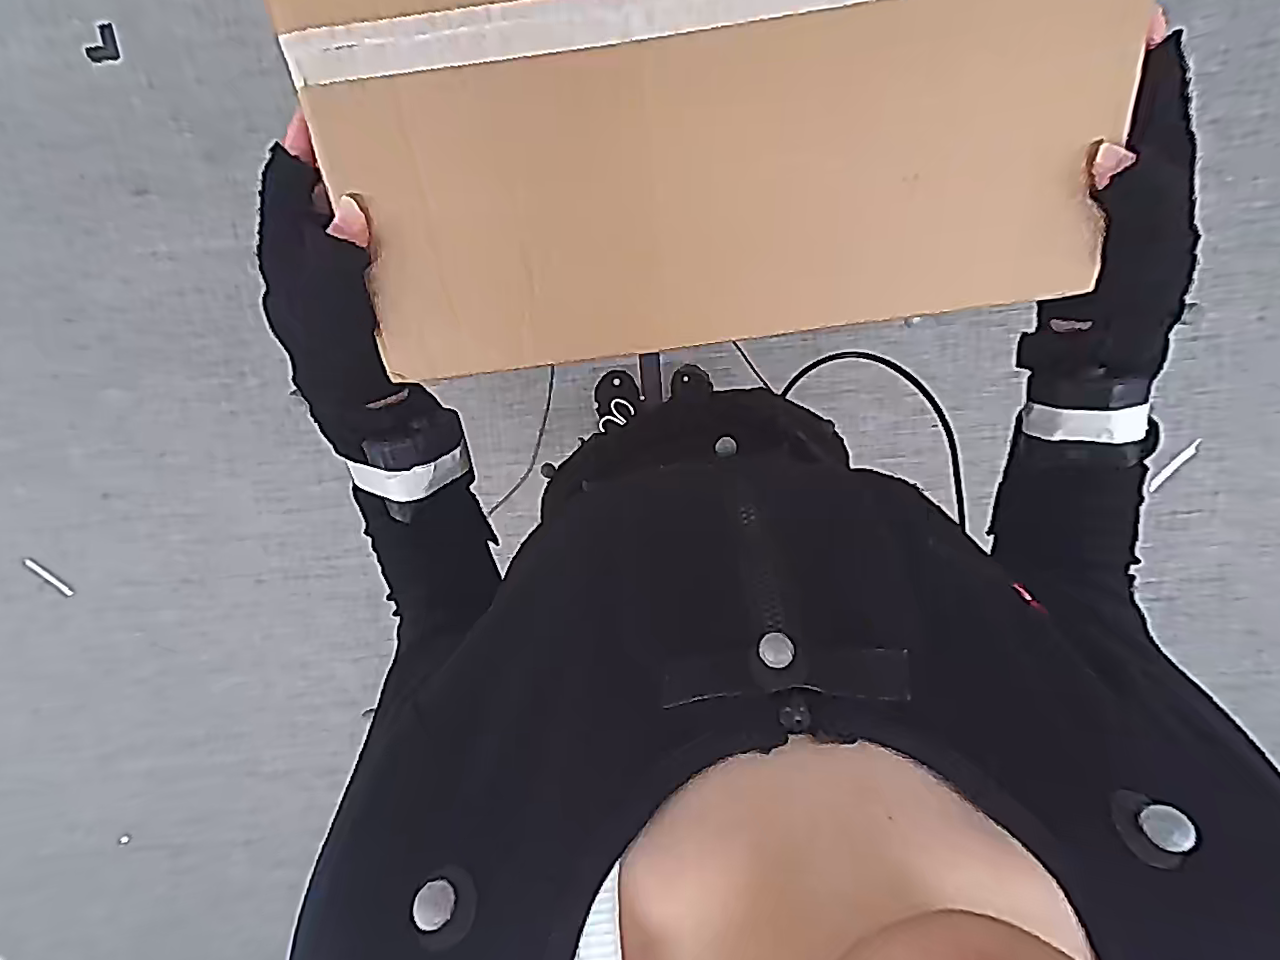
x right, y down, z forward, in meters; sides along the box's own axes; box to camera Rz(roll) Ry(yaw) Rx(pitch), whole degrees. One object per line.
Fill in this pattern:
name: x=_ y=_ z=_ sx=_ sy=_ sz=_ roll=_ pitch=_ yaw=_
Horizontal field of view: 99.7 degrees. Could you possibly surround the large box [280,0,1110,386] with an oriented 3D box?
large box: x=0.028 y=-0.282 z=0.397 sx=0.408 sy=0.320 sz=0.320 roll=-7 pitch=113 yaw=2
